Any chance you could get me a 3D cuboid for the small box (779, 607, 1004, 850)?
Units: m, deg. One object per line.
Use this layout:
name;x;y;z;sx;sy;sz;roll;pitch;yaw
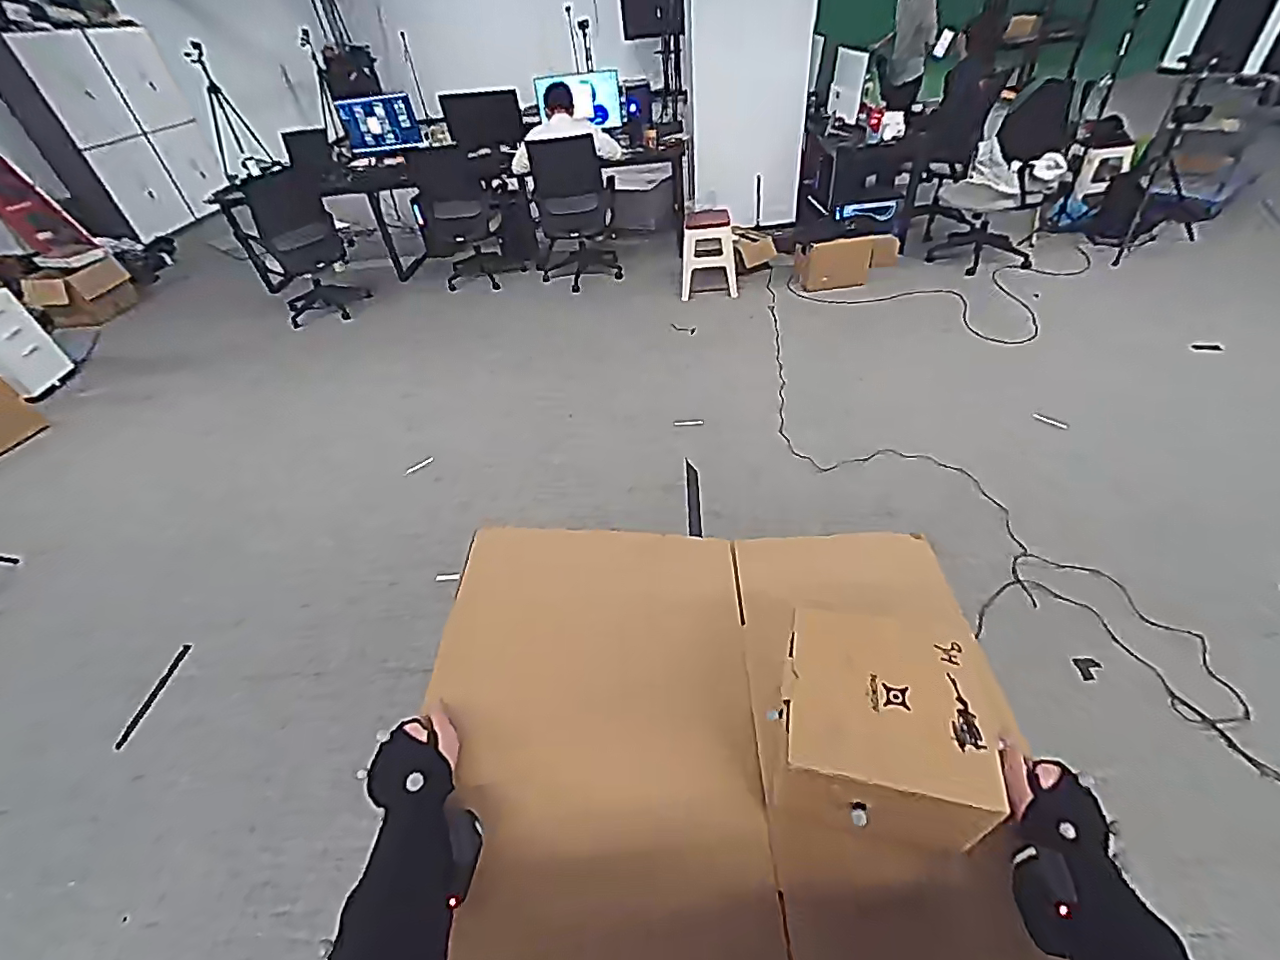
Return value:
small box;0.242;0.259;0.567;0.179;0.176;0.168;5;45;15
